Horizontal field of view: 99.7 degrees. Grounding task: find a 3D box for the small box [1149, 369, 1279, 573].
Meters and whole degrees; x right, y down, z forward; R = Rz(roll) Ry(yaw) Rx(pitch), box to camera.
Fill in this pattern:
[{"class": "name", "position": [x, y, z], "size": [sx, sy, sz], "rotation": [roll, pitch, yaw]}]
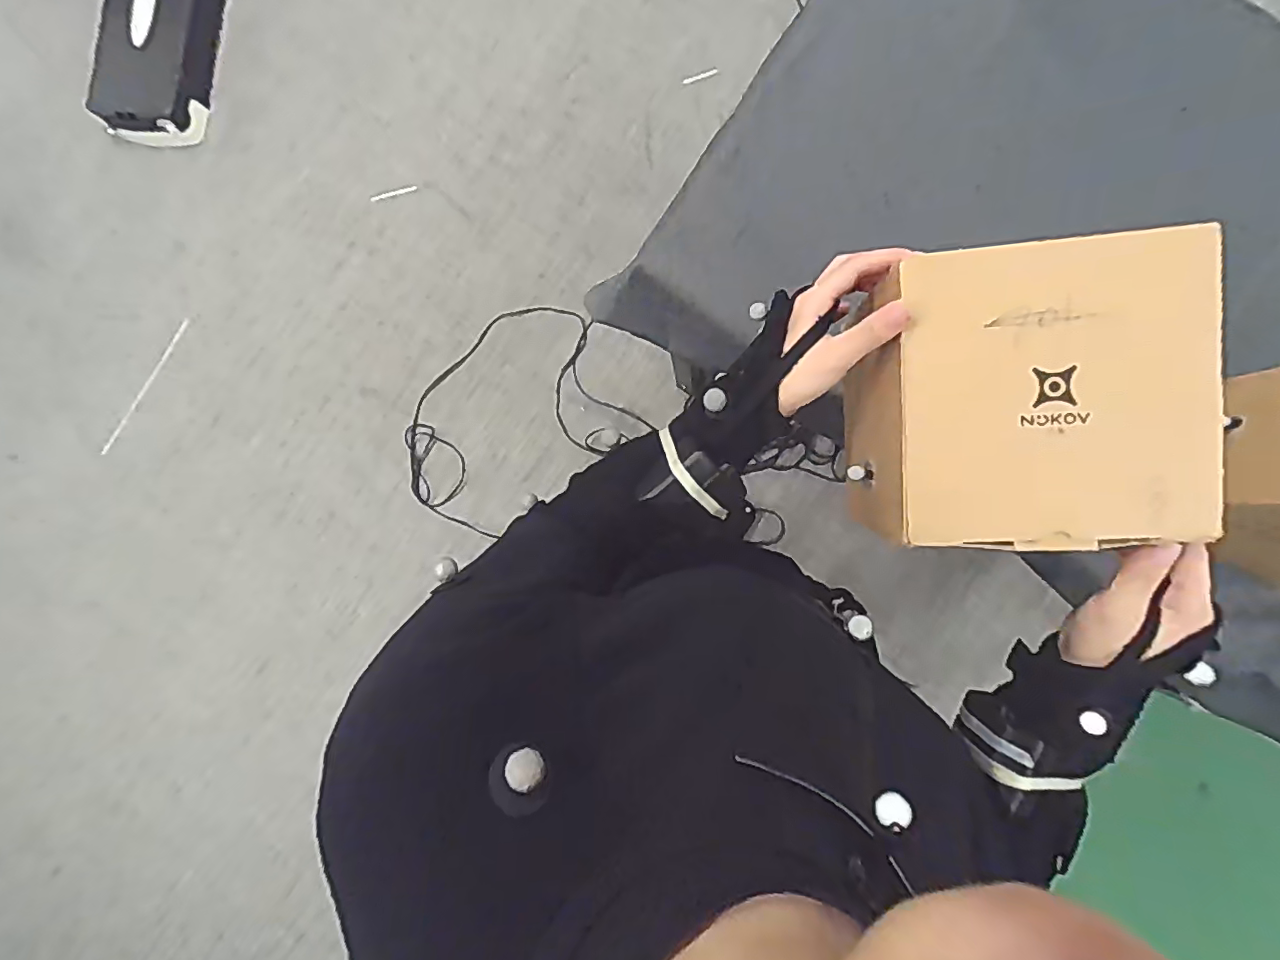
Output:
[{"class": "small box", "position": [0.663, -0.005, 0.508], "size": [0.179, 0.176, 0.168], "rotation": [32, 91, 7]}]
